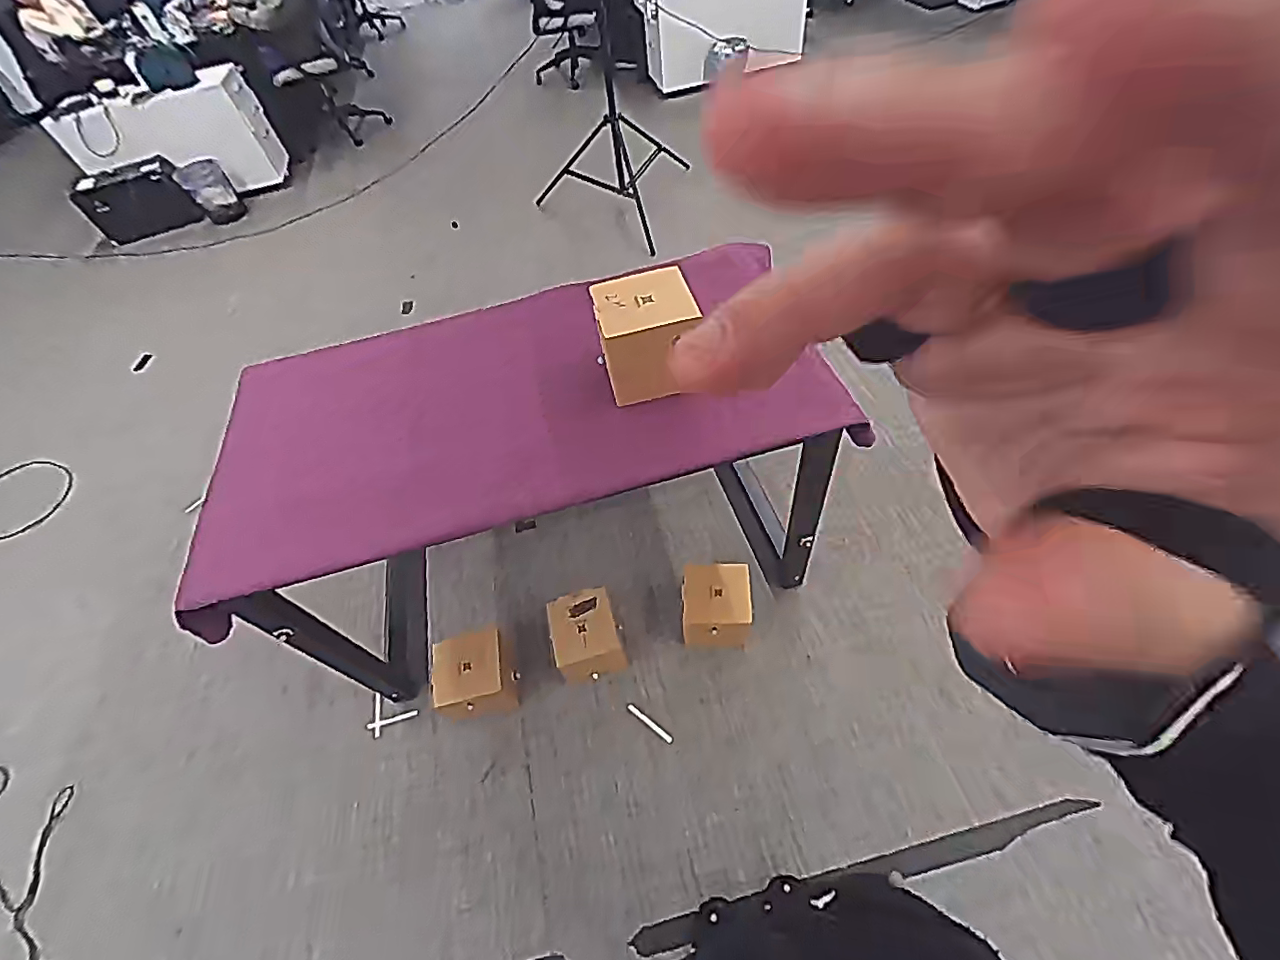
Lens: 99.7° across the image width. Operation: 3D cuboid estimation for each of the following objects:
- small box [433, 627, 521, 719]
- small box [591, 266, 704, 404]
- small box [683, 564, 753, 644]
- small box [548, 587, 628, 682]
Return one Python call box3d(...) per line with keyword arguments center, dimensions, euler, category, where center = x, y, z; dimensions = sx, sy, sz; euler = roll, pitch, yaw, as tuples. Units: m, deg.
box3d(center=(-0.427, 0.514, 1.429), dimensions=(0.179, 0.176, 0.168), euler=(-13, 54, -2), category="small box")
box3d(center=(0.018, -0.271, 1.025), dimensions=(0.179, 0.176, 0.168), euler=(-14, 53, -2), category="small box")
box3d(center=(0.209, 0.337, 1.465), dimensions=(0.179, 0.176, 0.168), euler=(-2, 55, 8), category="small box")
box3d(center=(-0.138, 0.418, 1.454), dimensions=(0.168, 0.176, 0.179), euler=(-16, 54, -3), category="small box")
